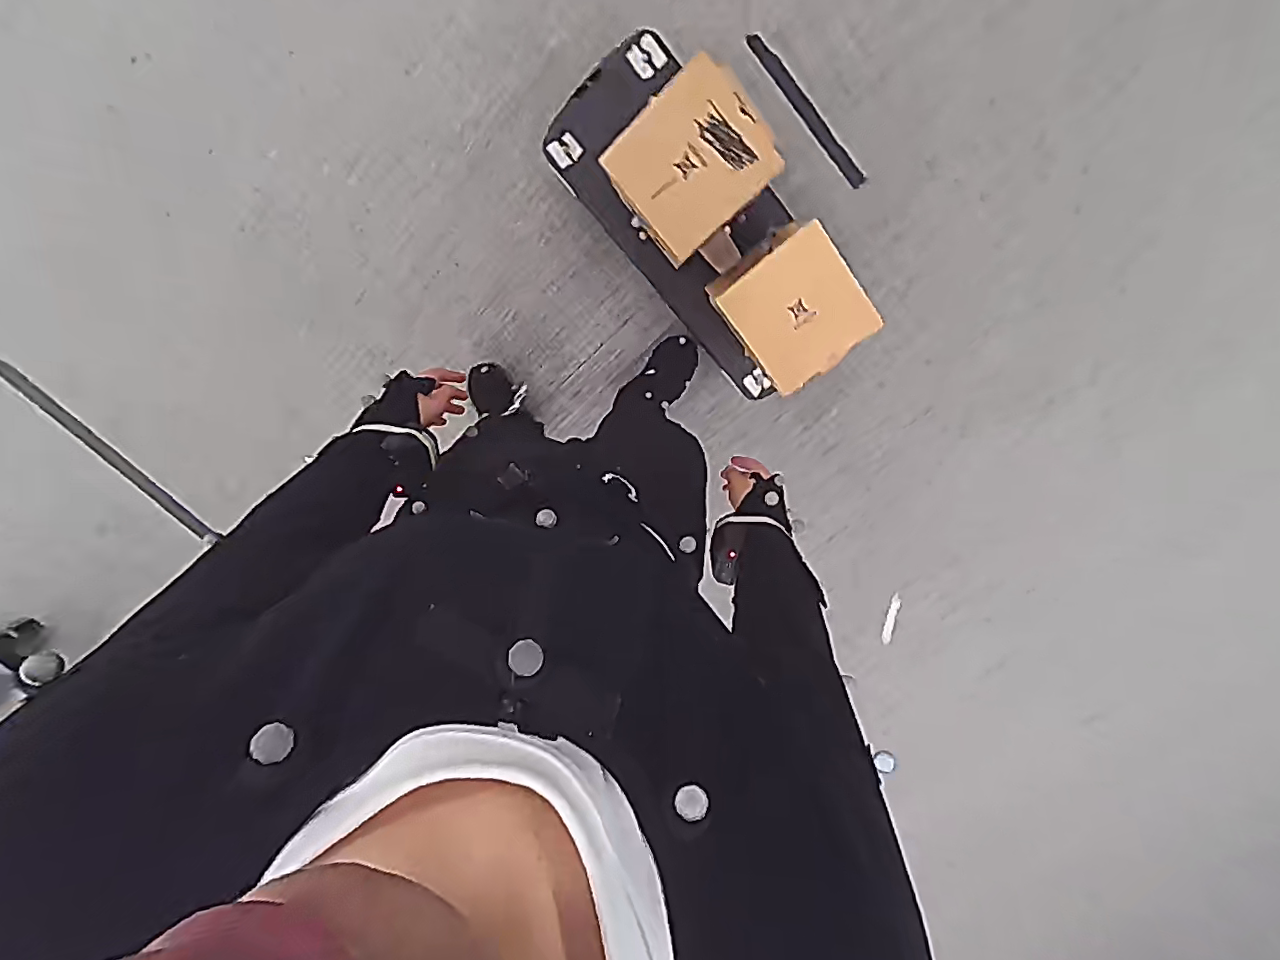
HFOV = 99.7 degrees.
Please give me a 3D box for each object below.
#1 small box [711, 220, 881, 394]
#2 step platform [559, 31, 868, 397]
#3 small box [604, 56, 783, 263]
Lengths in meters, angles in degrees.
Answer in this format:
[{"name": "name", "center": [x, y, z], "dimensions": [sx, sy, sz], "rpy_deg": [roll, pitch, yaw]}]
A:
[{"name": "small box", "center": [0.223, -0.259, 0.824], "dimensions": [0.168, 0.176, 0.179], "rpy_deg": [-36, 105, 15]}, {"name": "step platform", "center": [0.155, -0.497, 1.099], "dimensions": [0.286, 0.204, 0.684], "rpy_deg": [-40, 103, 15]}, {"name": "small box", "center": [0.071, -0.433, 0.767], "dimensions": [0.179, 0.176, 0.168], "rpy_deg": [-38, 104, 16]}]
